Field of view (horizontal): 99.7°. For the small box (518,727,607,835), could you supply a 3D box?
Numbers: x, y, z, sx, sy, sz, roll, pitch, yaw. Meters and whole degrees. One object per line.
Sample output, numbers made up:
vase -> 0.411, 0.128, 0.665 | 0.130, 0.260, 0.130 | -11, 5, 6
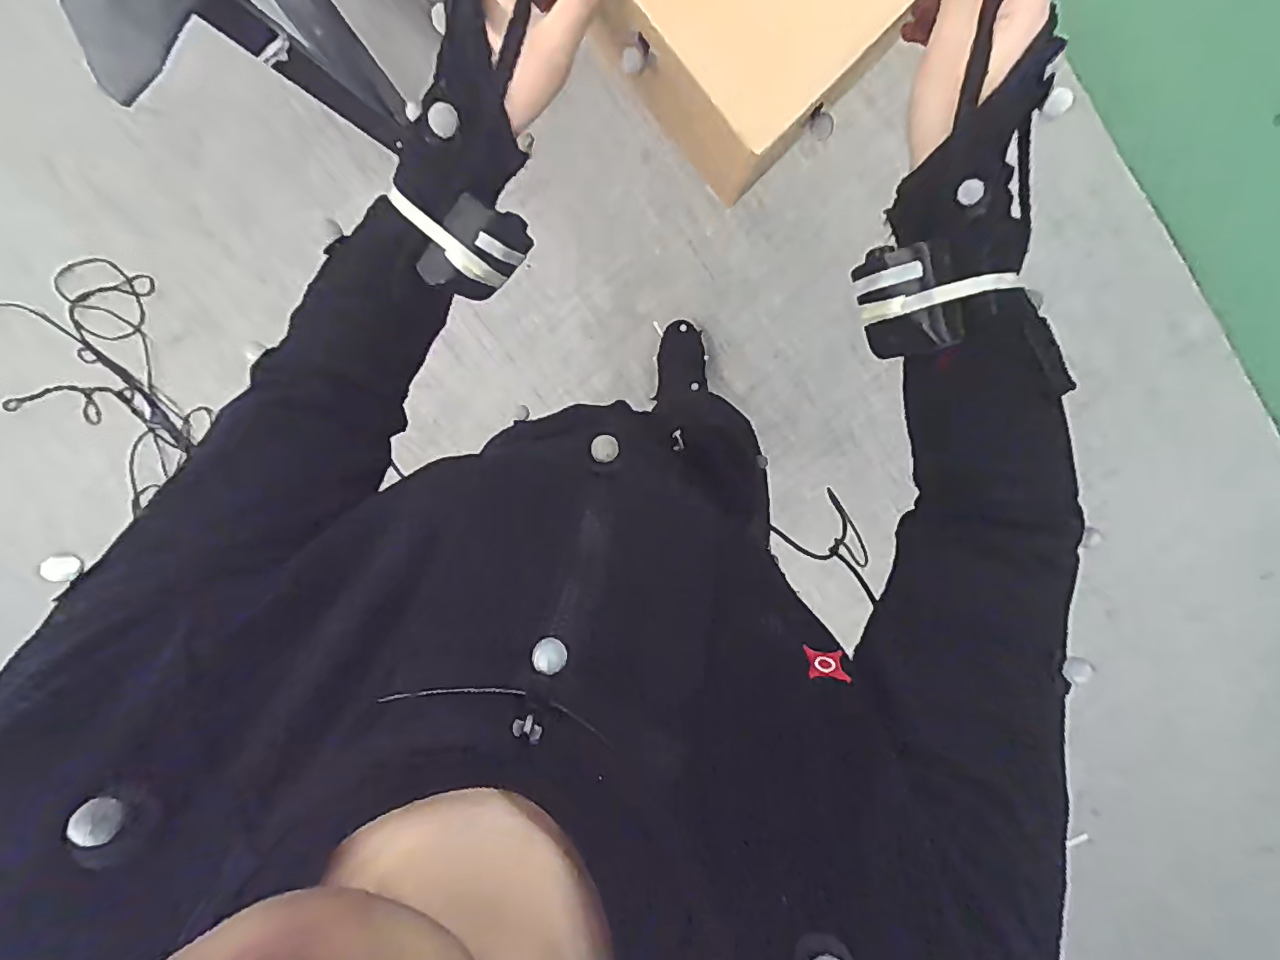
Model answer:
small box -> -0.205, 0.826, 1.501 | 0.179, 0.176, 0.168 | -32, 99, 10
